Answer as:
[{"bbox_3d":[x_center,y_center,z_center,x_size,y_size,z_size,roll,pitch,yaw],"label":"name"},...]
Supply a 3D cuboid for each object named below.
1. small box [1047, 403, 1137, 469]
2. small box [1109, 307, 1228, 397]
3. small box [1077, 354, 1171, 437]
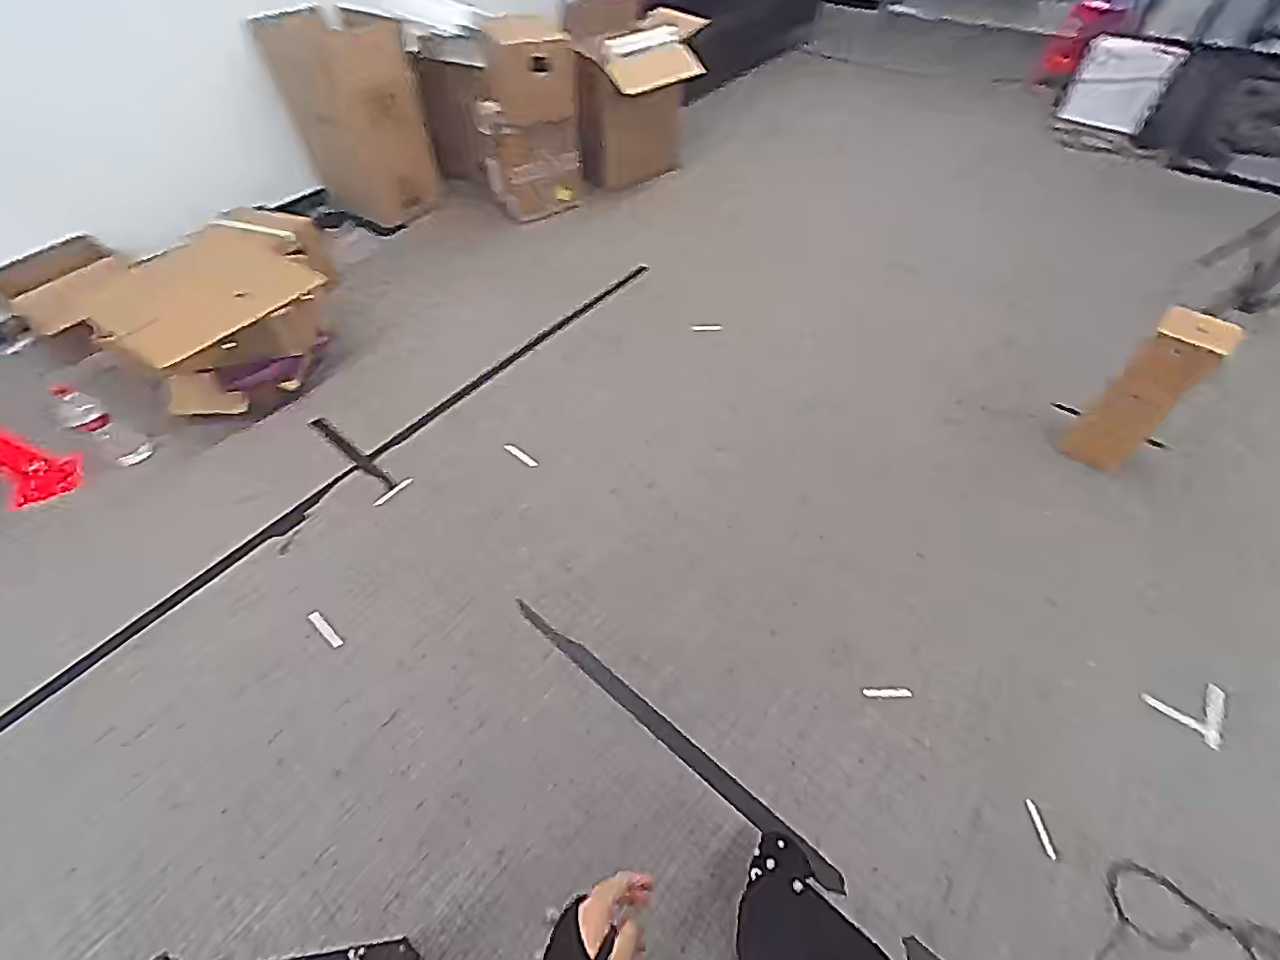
[{"bbox_3d":[1.554,-0.162,1.847,0.179,0.176,0.168,37,62,27],"label":"small box"},{"bbox_3d":[1.552,-0.374,1.598,0.179,0.176,0.168,37,63,26],"label":"small box"},{"bbox_3d":[1.553,-0.269,1.722,0.168,0.176,0.179,-37,59,-23],"label":"small box"}]
